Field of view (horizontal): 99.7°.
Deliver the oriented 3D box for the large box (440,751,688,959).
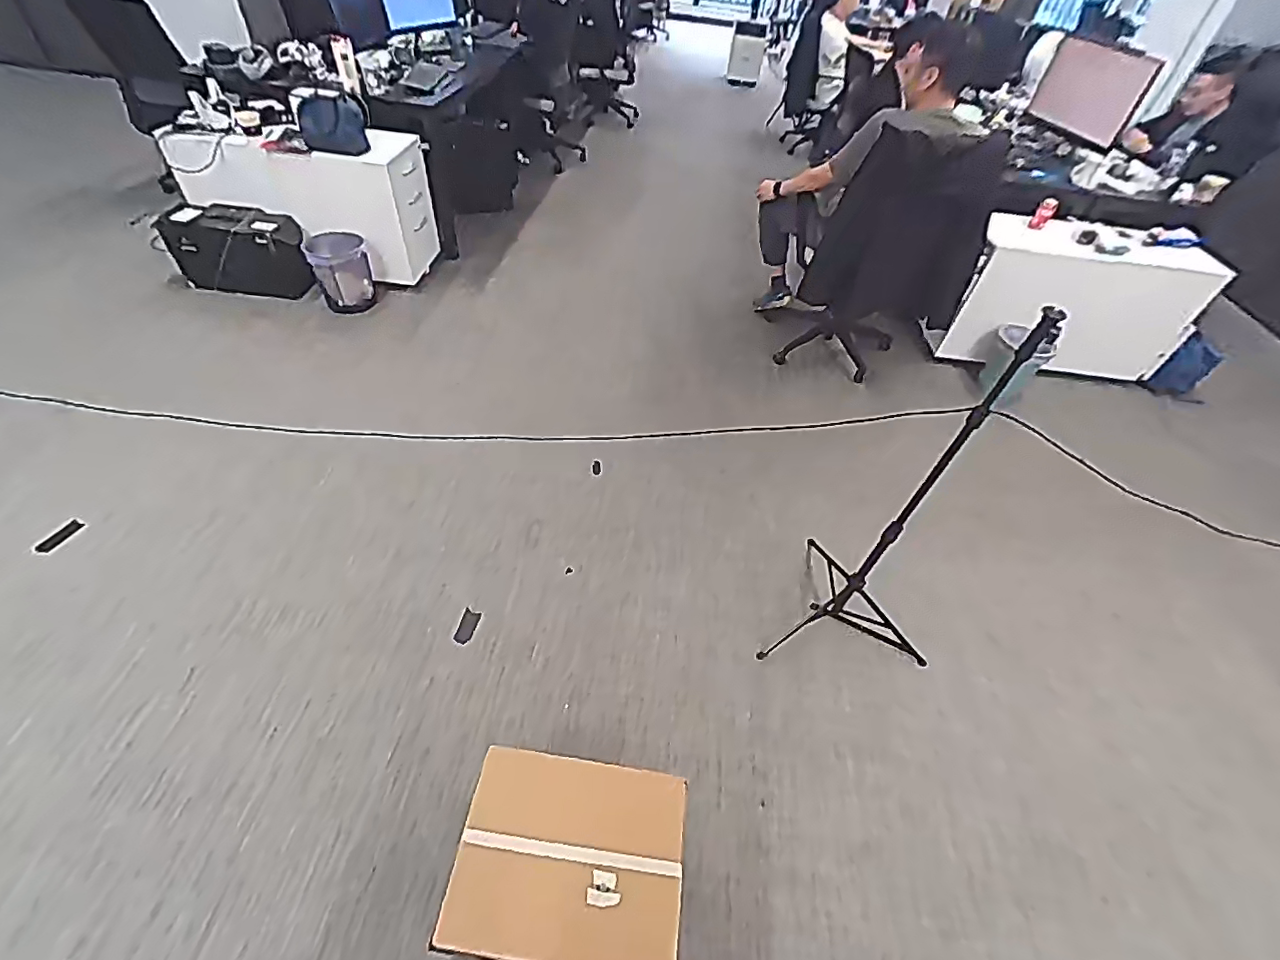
[{"bbox_3d":[-0.134,0.785,1.090,0.408,0.320,0.320,9,47,1],"label":"large box"}]
